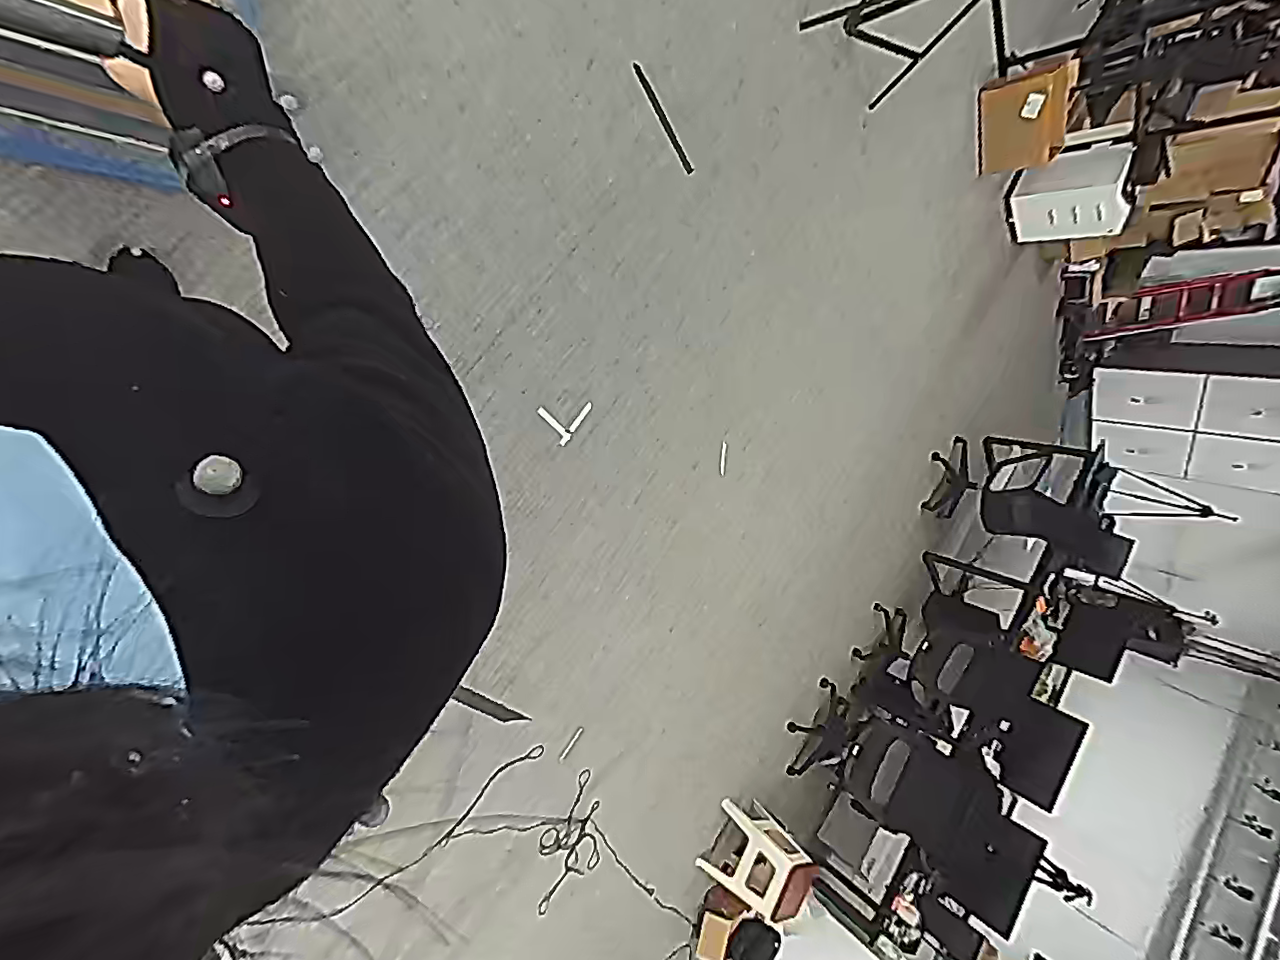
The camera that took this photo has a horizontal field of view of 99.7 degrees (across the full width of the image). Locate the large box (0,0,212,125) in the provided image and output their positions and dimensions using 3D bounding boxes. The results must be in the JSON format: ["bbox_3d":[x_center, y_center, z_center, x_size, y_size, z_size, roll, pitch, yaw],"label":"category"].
[{"bbox_3d":[-0.816,-0.713,0.673,0.408,0.320,0.320,-6,107,-42],"label":"large box"}]
